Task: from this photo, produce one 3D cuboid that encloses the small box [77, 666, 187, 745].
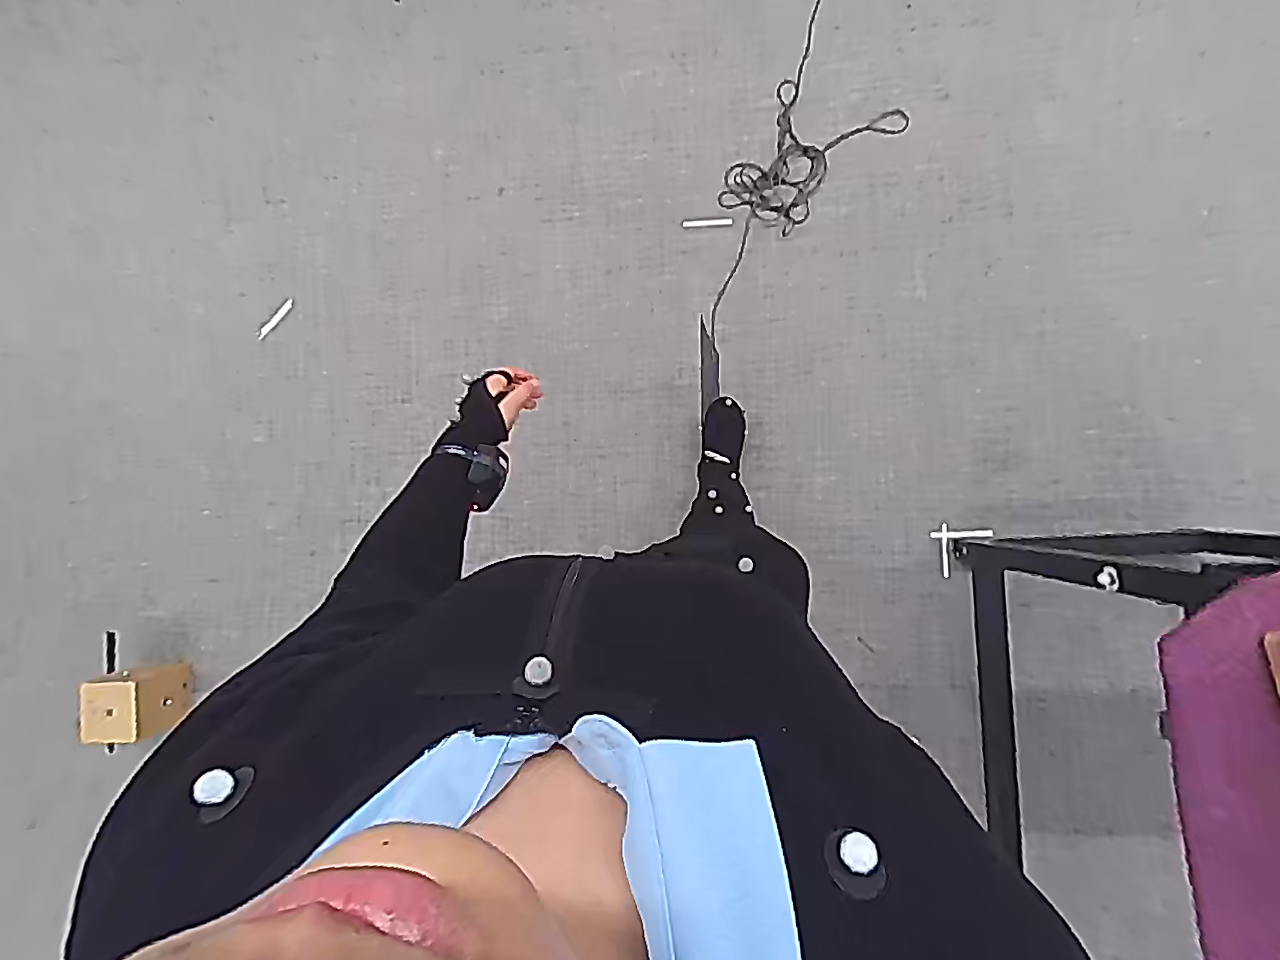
[{"bbox_3d":[-1.447,0.640,1.551,0.179,0.176,0.168,-3,87,7],"label":"small box"}]
